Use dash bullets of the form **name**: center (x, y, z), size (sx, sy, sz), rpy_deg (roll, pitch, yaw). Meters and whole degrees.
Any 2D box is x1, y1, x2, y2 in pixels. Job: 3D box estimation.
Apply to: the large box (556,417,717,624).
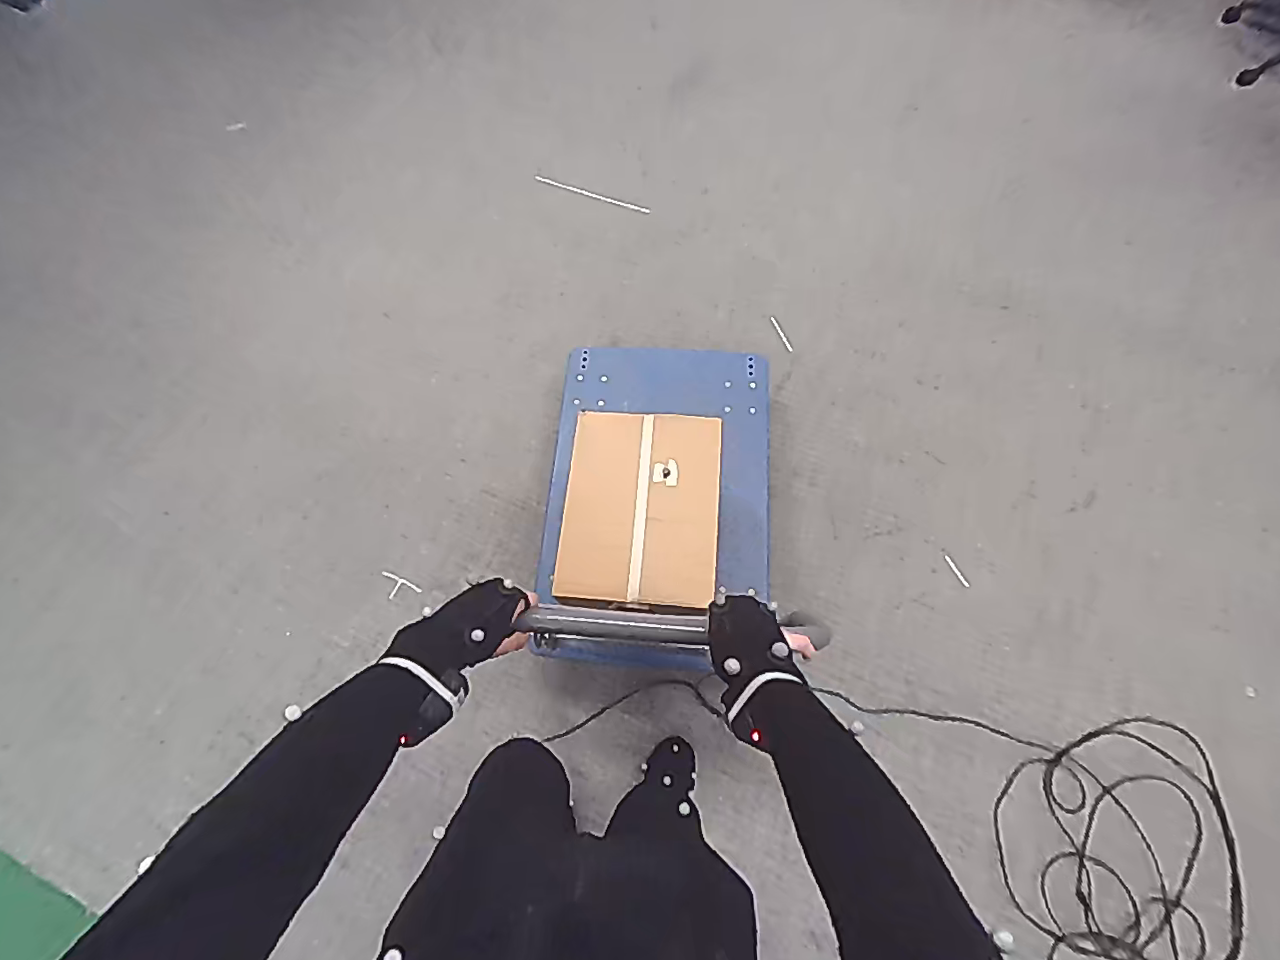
- **large box**: center (0.009, 0.106, 1.258), size (0.320, 0.320, 0.408), rpy_deg (4, 68, 4)
